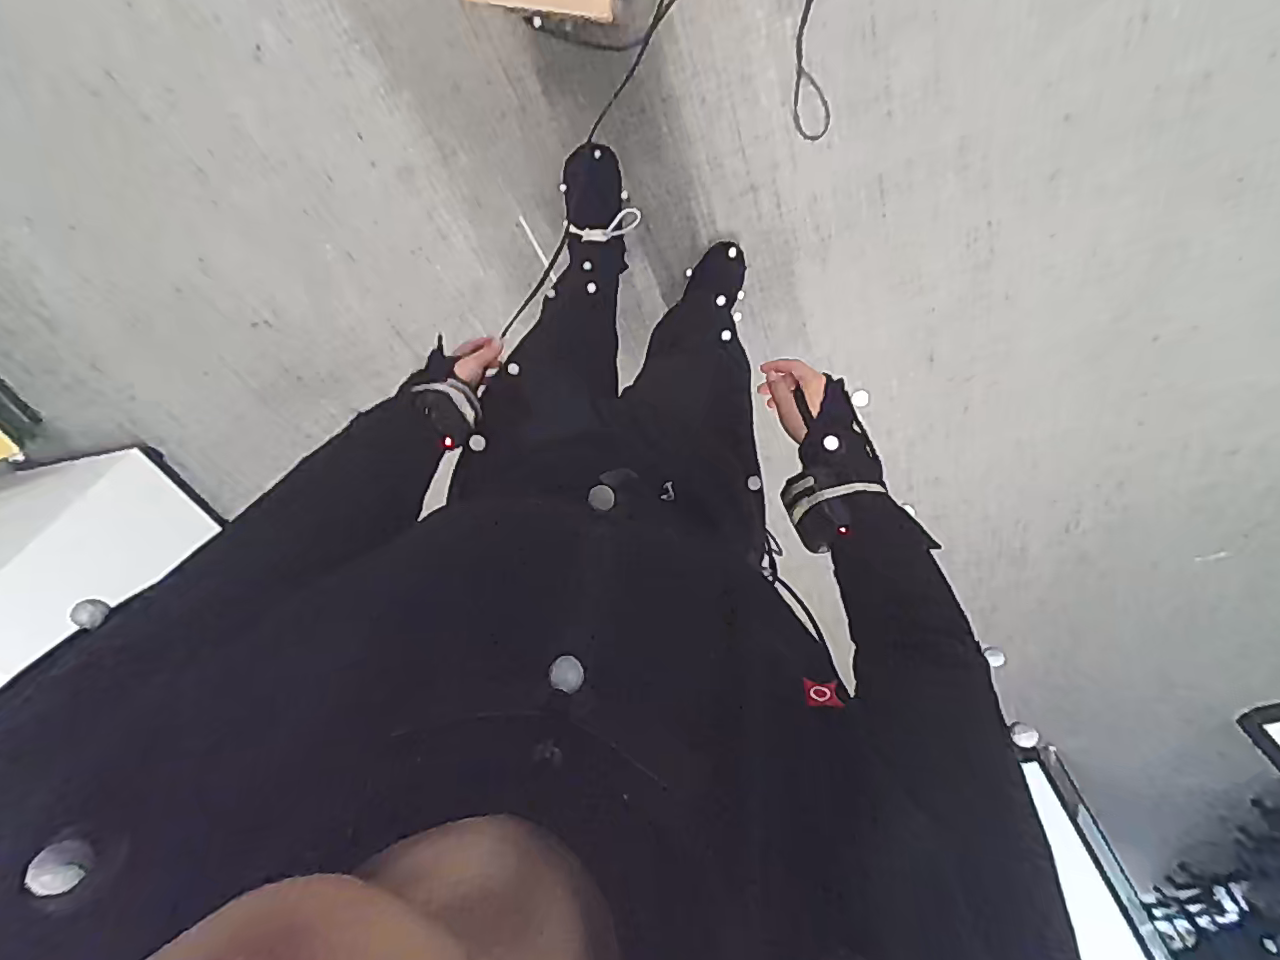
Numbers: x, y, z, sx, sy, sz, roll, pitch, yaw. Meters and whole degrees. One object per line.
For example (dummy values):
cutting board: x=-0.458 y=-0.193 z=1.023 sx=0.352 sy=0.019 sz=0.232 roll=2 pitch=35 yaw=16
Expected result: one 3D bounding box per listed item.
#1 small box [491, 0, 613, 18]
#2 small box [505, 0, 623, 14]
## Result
small box: x=-0.113 y=-0.666 z=0.639 sx=0.179 sy=0.176 sz=0.168 roll=5 pitch=129 yaw=-4
small box: x=-0.106 y=-0.776 z=0.762 sx=0.168 sy=0.176 sz=0.179 roll=0 pitch=131 yaw=-1
